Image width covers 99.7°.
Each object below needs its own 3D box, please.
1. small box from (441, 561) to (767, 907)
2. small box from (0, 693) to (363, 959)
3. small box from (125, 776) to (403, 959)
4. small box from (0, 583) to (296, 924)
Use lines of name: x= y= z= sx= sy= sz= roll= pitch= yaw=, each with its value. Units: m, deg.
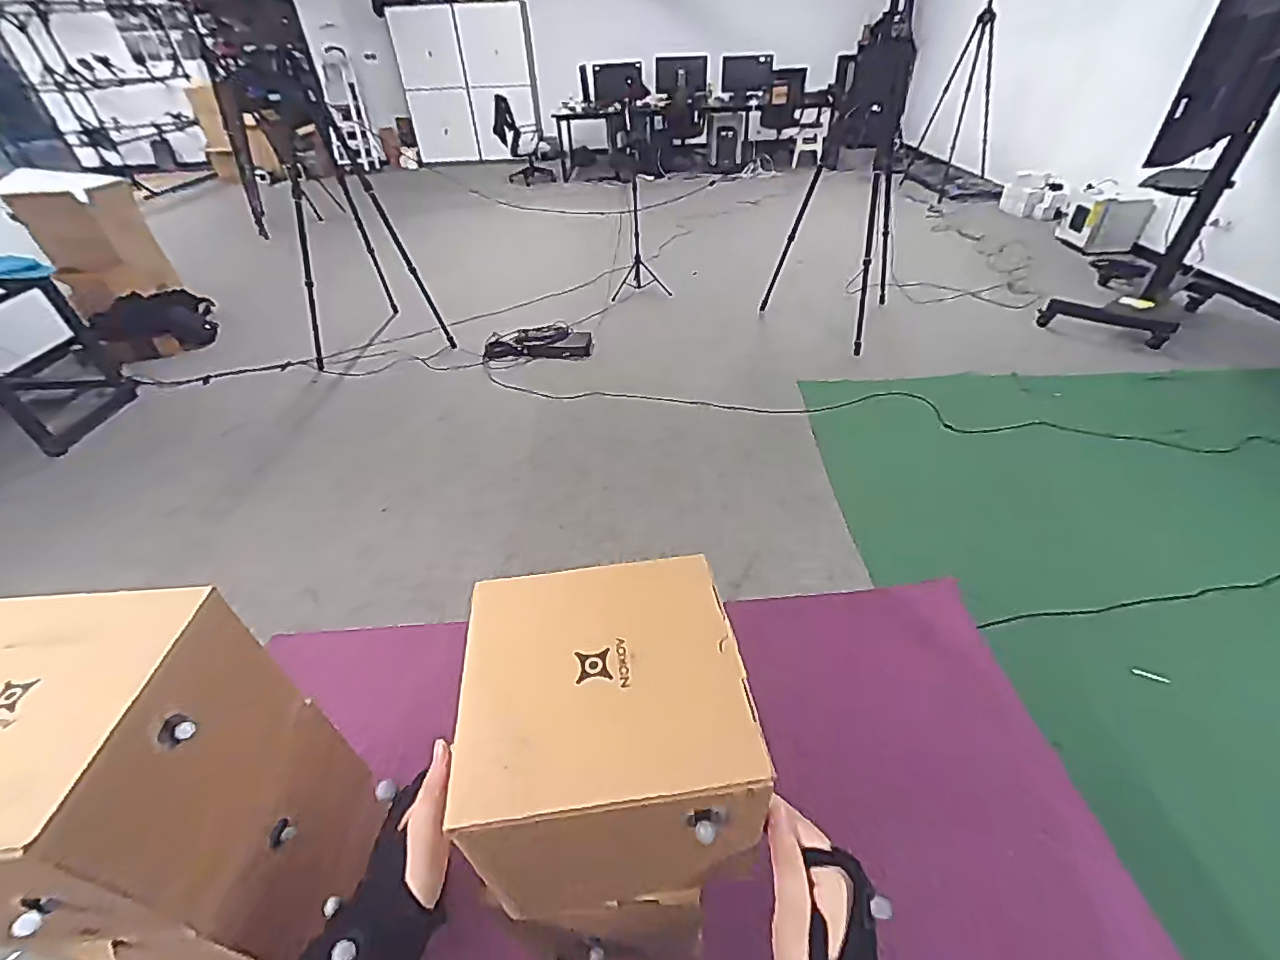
small box: x=-0.022 y=0.182 z=0.392 sx=0.179 sy=0.176 sz=0.168 roll=-4 pitch=40 yaw=-4
small box: x=-0.388 y=0.319 z=0.497 sx=0.168 sy=0.176 sz=0.179 roll=-1 pitch=39 yaw=2
small box: x=-0.386 y=0.450 z=0.598 sx=0.168 sy=0.176 sz=0.179 roll=-1 pitch=41 yaw=0
small box: x=-0.391 y=0.197 z=0.390 sx=0.168 sy=0.176 sz=0.179 roll=-1 pitch=40 yaw=-1
